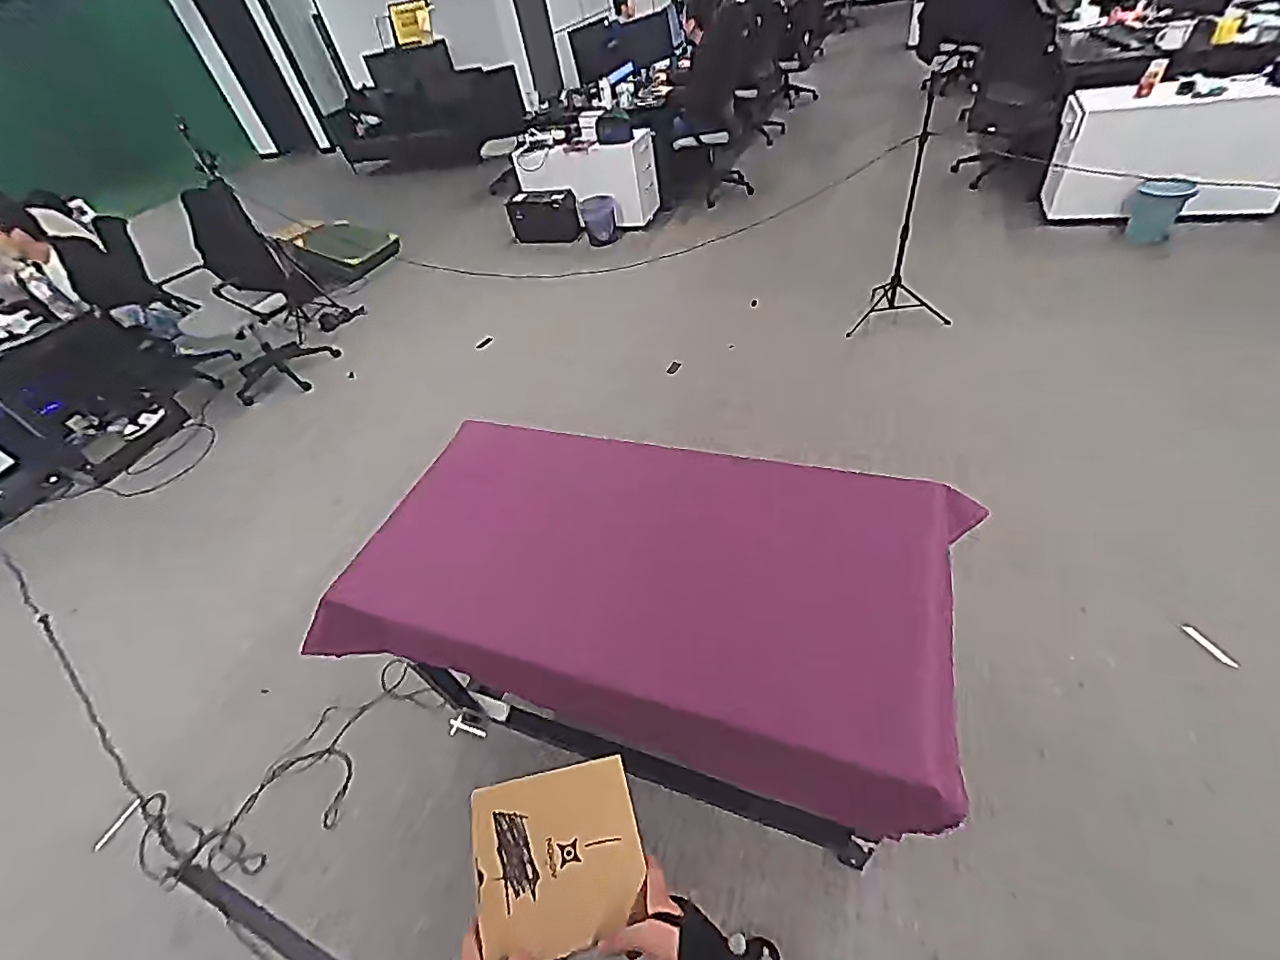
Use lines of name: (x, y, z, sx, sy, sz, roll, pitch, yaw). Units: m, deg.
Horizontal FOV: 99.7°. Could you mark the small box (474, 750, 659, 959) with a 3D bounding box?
small box: (-0.090, 0.446, 0.634, 0.179, 0.176, 0.168, -8, 50, -15)
